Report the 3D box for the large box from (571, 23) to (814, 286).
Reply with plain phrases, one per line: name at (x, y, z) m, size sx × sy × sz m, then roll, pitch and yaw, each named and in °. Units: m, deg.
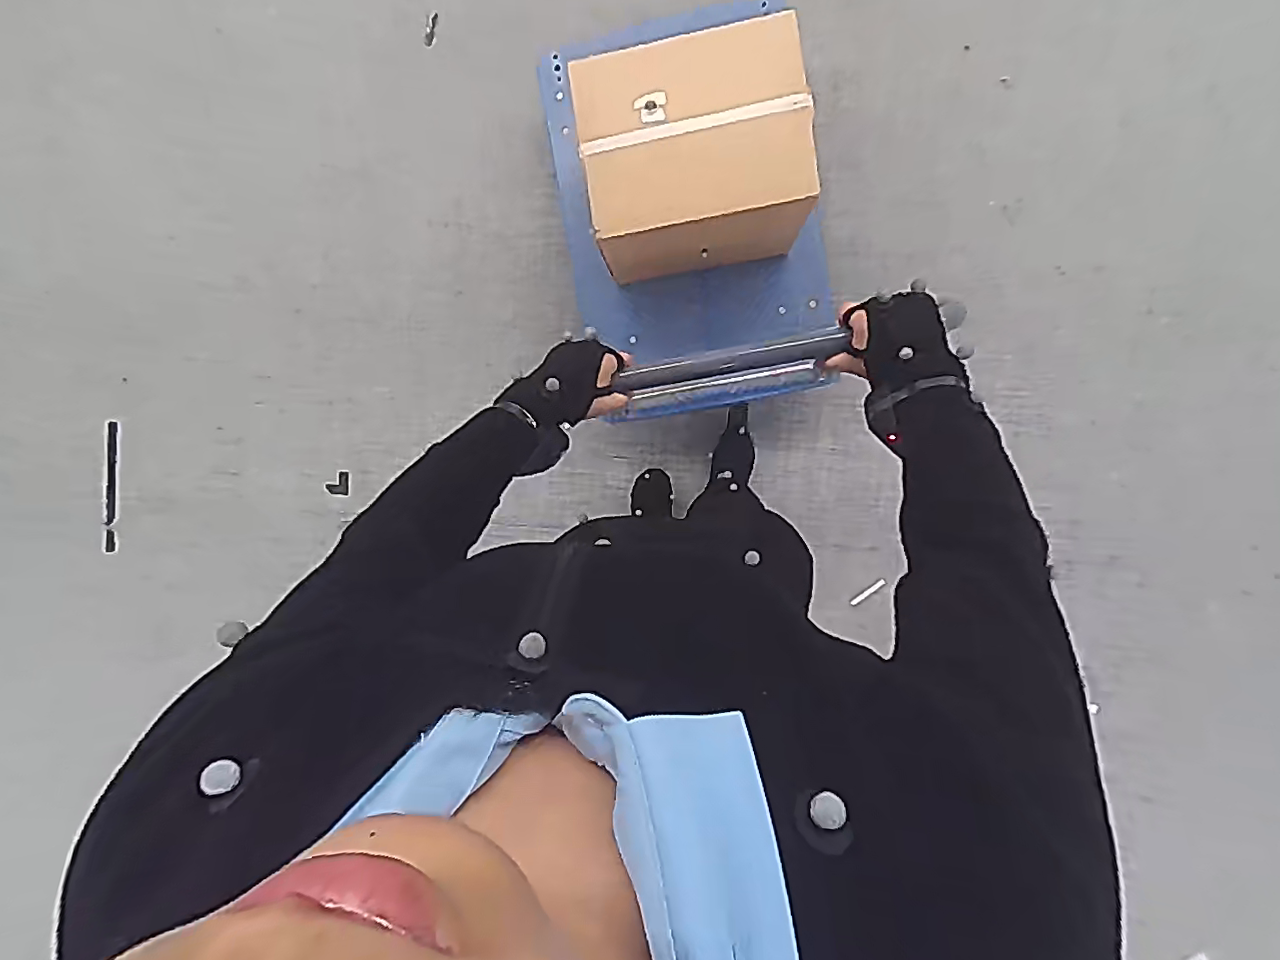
large box at (0.109, -0.630, 1.122) m, size 0.408 × 0.320 × 0.320 m, roll -9°, pitch 93°, yaw 7°
